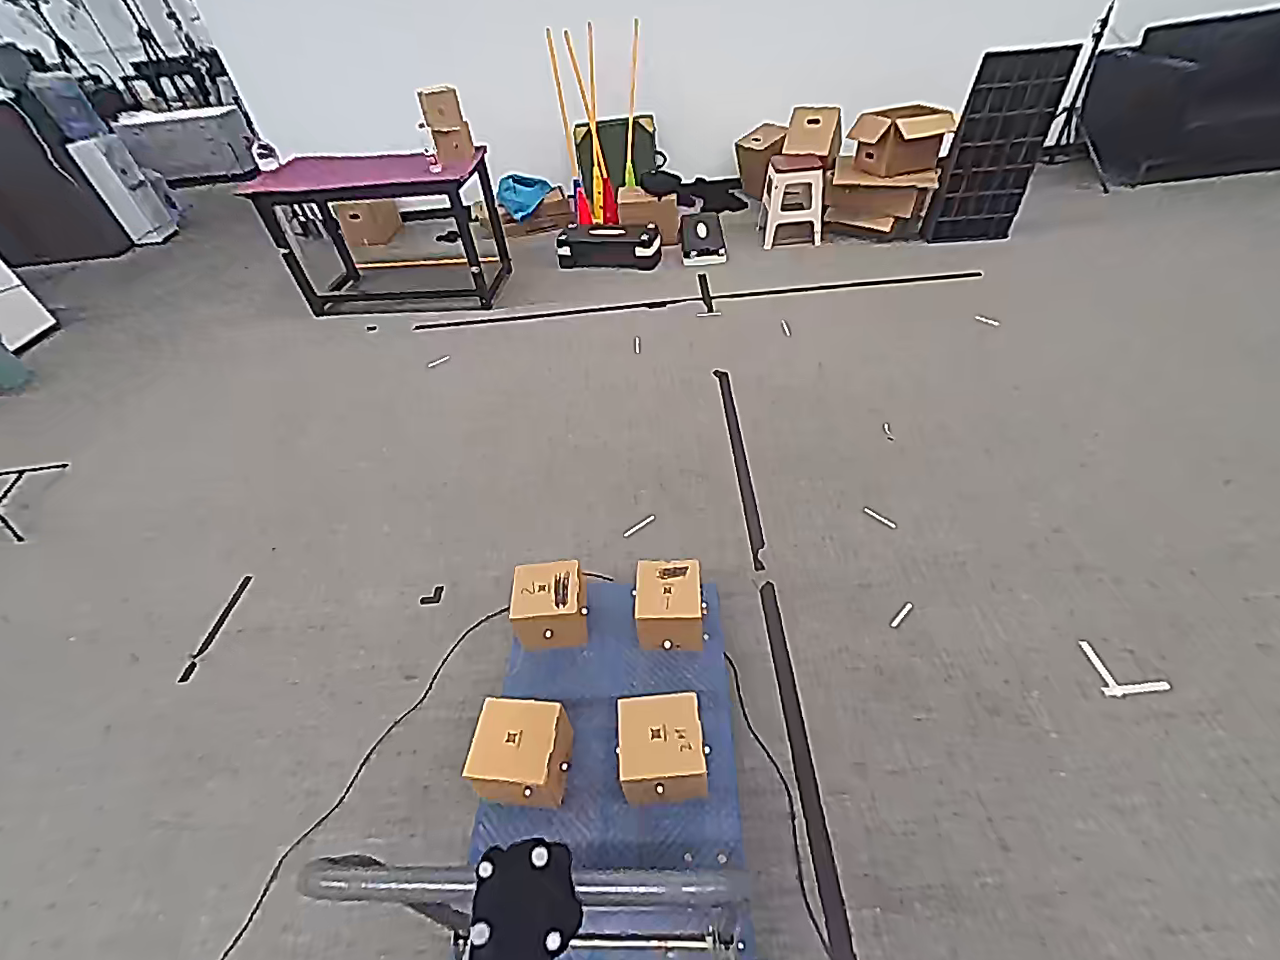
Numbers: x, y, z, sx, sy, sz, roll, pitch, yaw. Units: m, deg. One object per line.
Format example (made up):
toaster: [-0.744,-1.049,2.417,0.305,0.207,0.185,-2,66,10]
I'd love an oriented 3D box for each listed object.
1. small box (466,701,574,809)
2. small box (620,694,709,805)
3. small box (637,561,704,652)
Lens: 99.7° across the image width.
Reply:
small box: [-0.254,0.608,1.195,0.179,0.176,0.168,1,44,6]
small box: [0.054,0.589,1.175,0.179,0.176,0.168,-6,44,1]
small box: [0.082,0.335,1.431,0.168,0.176,0.179,-2,46,5]
